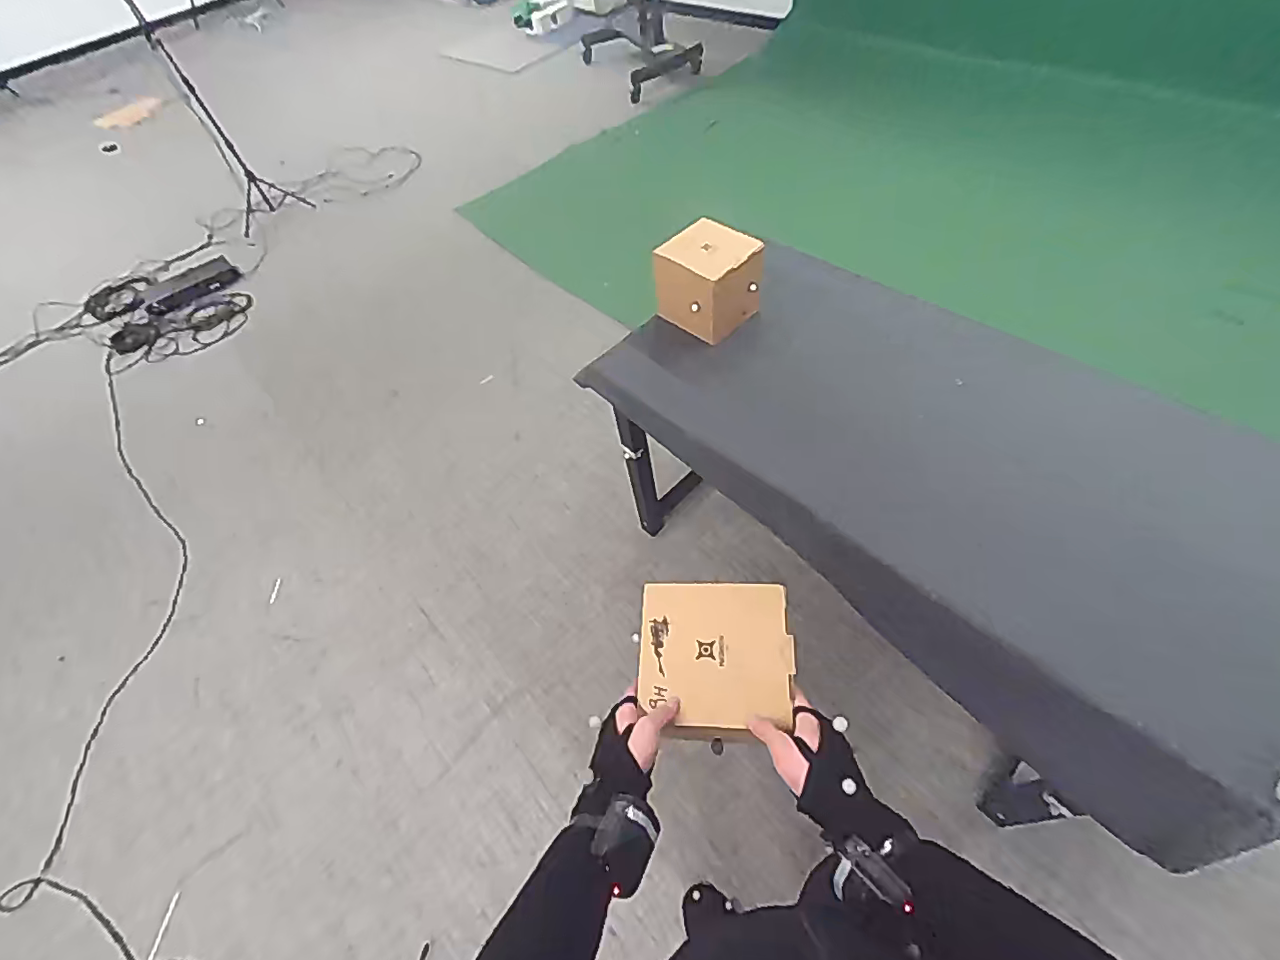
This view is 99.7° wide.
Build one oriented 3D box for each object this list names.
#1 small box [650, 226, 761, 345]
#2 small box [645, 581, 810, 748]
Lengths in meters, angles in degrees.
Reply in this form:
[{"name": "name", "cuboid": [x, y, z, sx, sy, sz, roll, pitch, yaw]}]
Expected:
[{"name": "small box", "cuboid": [0.143, -0.424, 1.195, 0.179, 0.176, 0.168, 36, 63, 28]}, {"name": "small box", "cuboid": [0.103, 0.236, 0.680, 0.179, 0.176, 0.168, -1, 58, 7]}]
